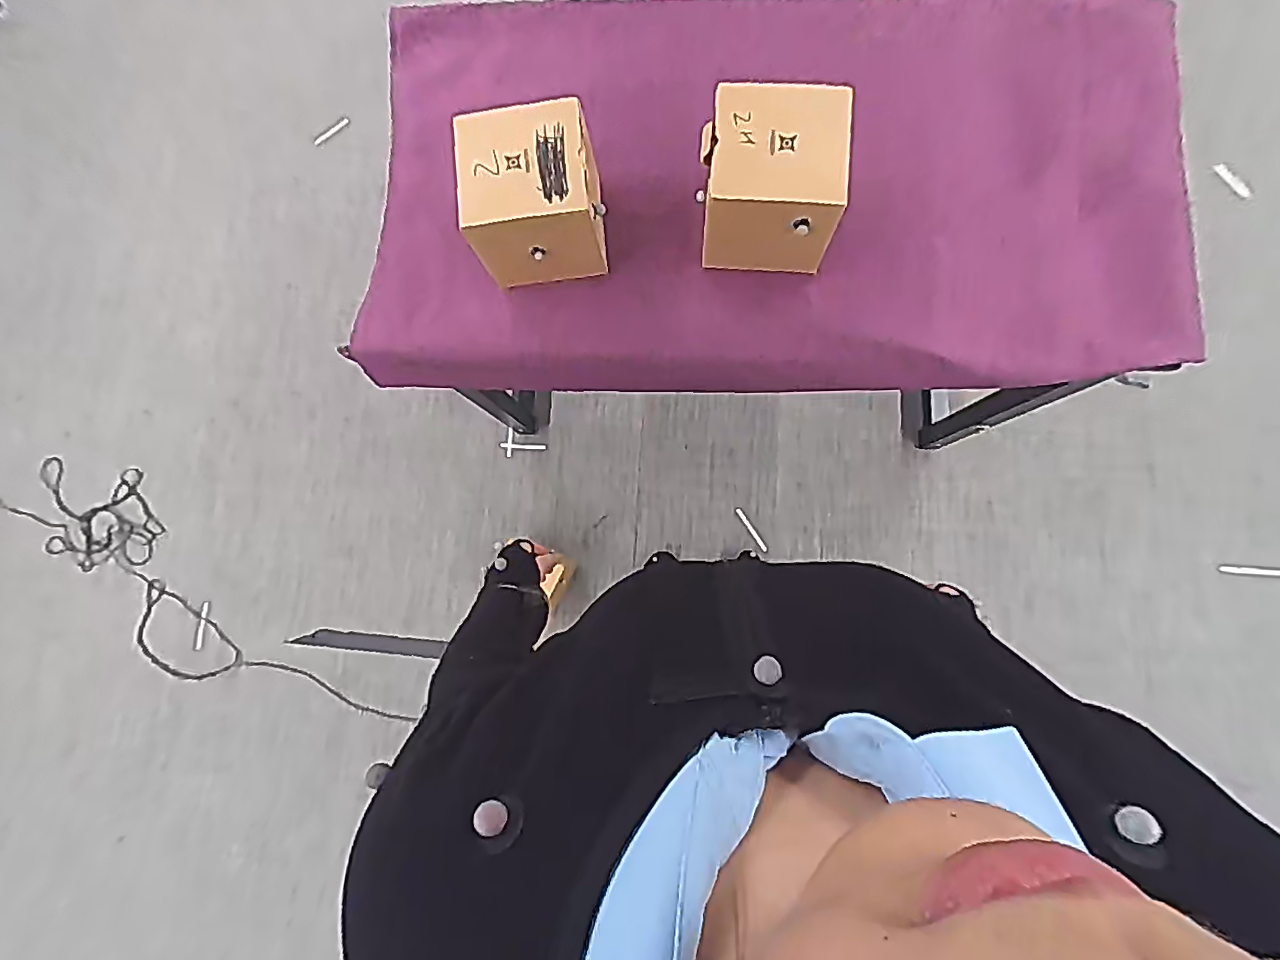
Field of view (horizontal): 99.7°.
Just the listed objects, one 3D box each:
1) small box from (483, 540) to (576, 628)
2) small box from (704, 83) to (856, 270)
[{"bbox_3d":[-0.288,0.274,1.455,0.168,0.176,0.179,25,85,7],"label":"small box"},{"bbox_3d":[0.188,-0.416,0.764,0.179,0.176,0.168,5,82,6],"label":"small box"}]
